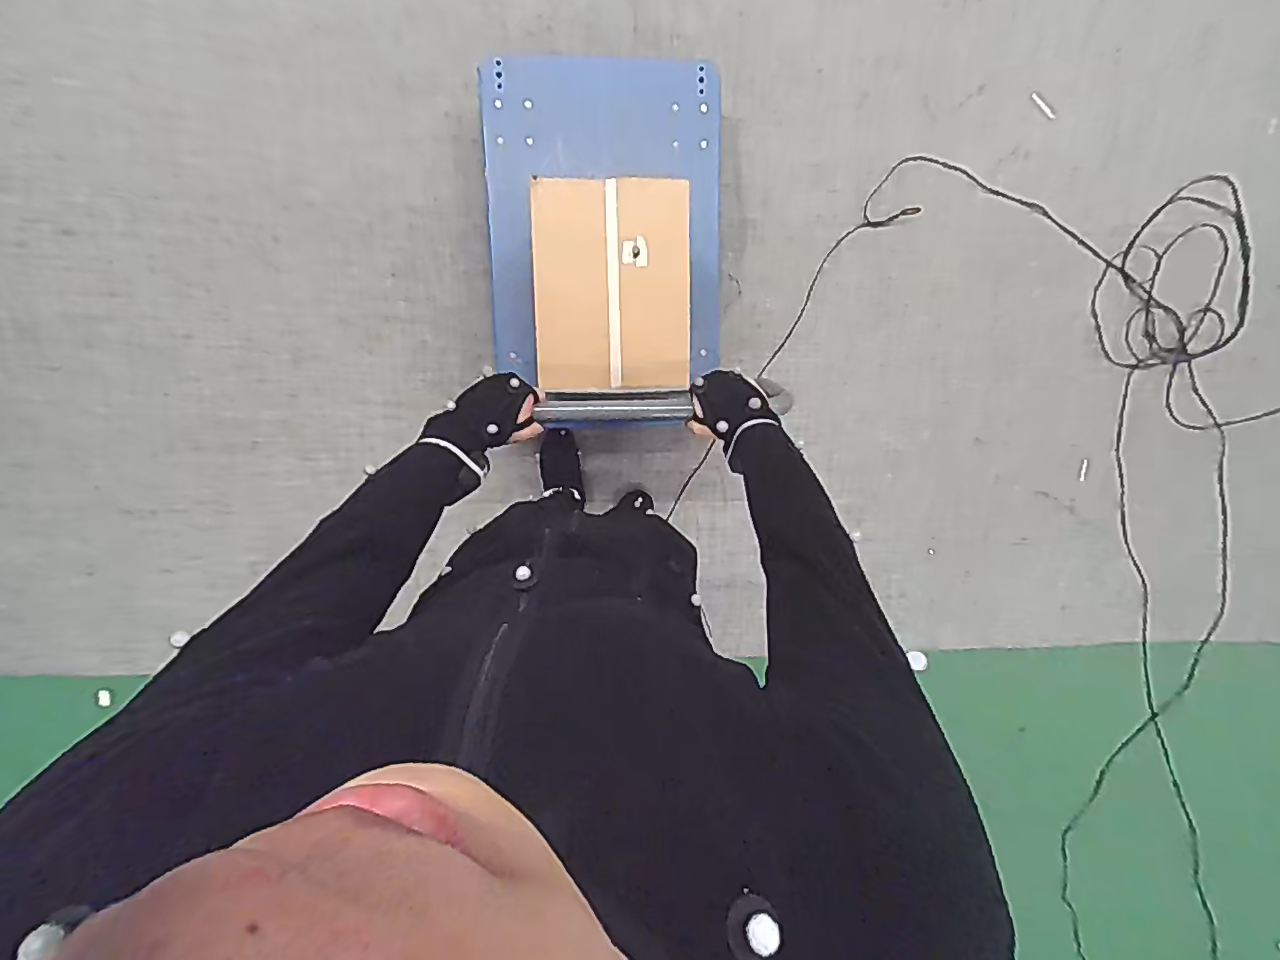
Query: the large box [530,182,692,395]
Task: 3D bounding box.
[{"bbox_3d":[-0.062,-0.401,1.222,0.320,0.320,0.408,-2,99,-5],"label":"large box"}]
